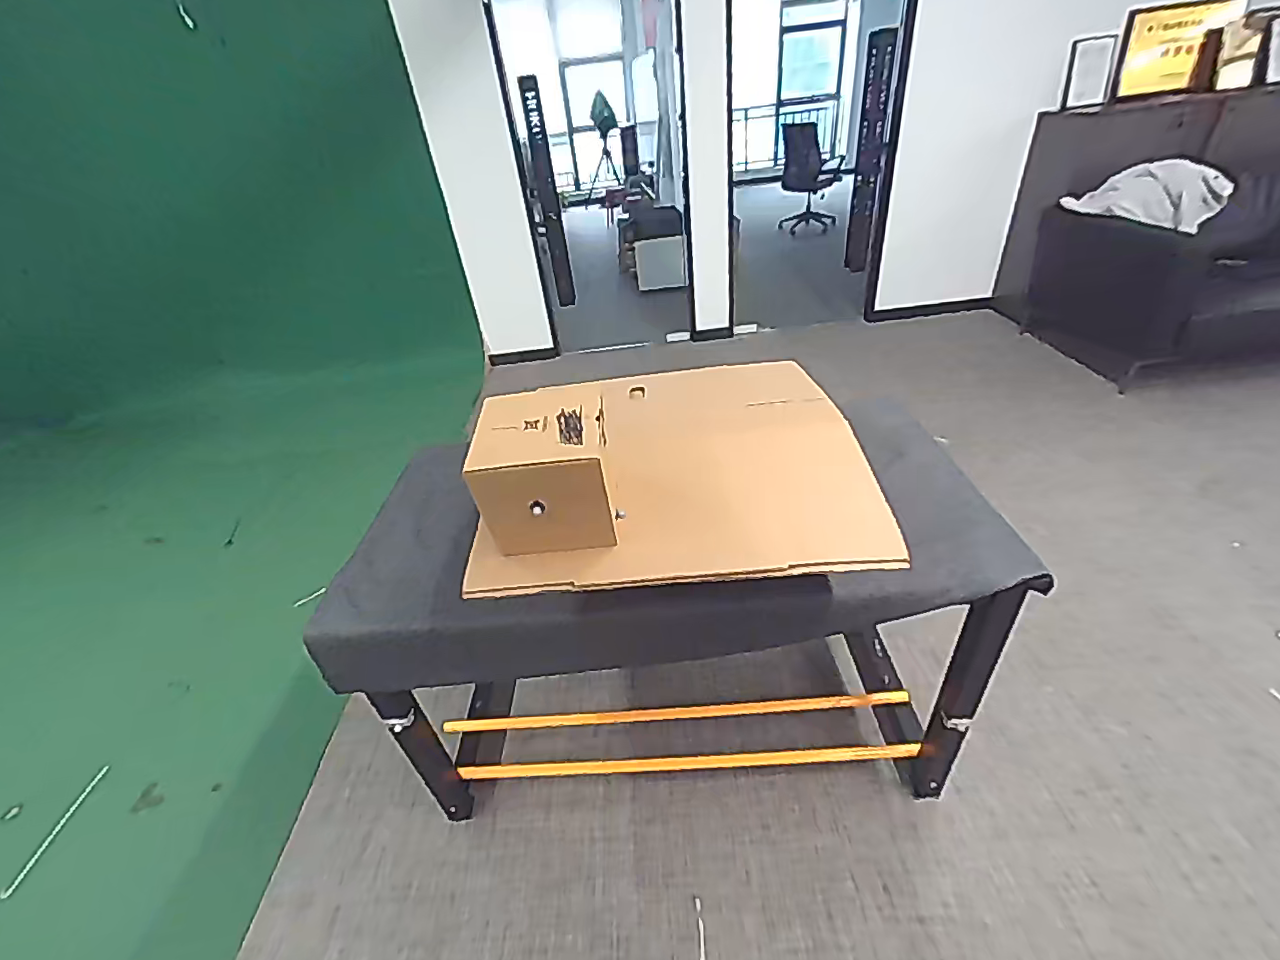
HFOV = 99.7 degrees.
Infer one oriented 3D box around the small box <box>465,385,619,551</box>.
[{"bbox_3d":[-0.126,-0.014,0.783,0.179,0.176,0.168,-6,43,4],"label":"small box"}]
